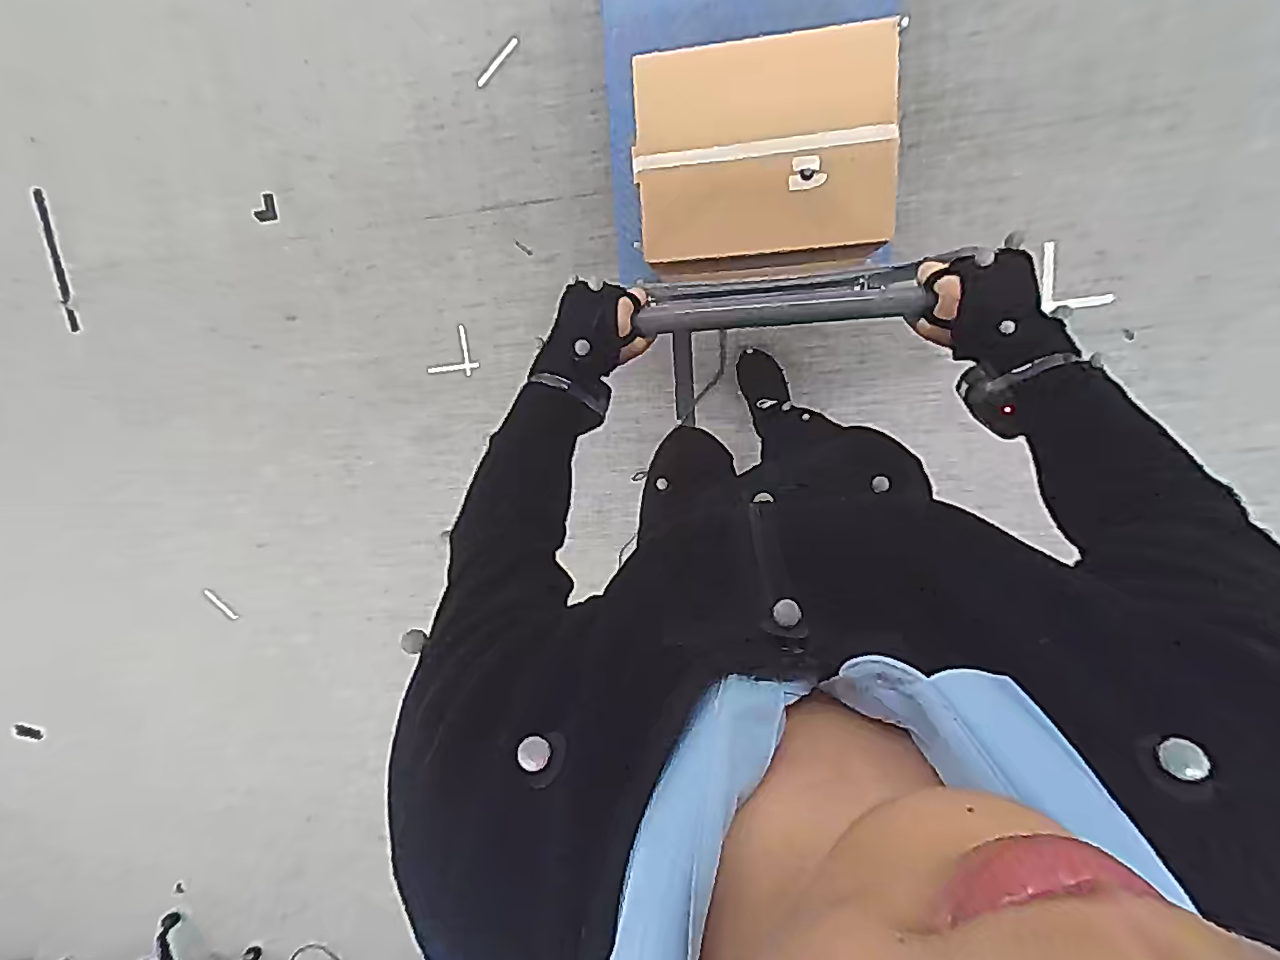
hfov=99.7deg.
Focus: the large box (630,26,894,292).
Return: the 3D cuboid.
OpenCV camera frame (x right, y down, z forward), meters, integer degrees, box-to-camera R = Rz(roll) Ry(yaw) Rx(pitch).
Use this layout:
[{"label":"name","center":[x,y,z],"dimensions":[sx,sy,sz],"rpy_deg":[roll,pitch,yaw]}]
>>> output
[{"label":"large box","center":[0.209,-0.546,1.003],"dimensions":[0.408,0.320,0.320],"rpy_deg":[-2,103,8]}]
